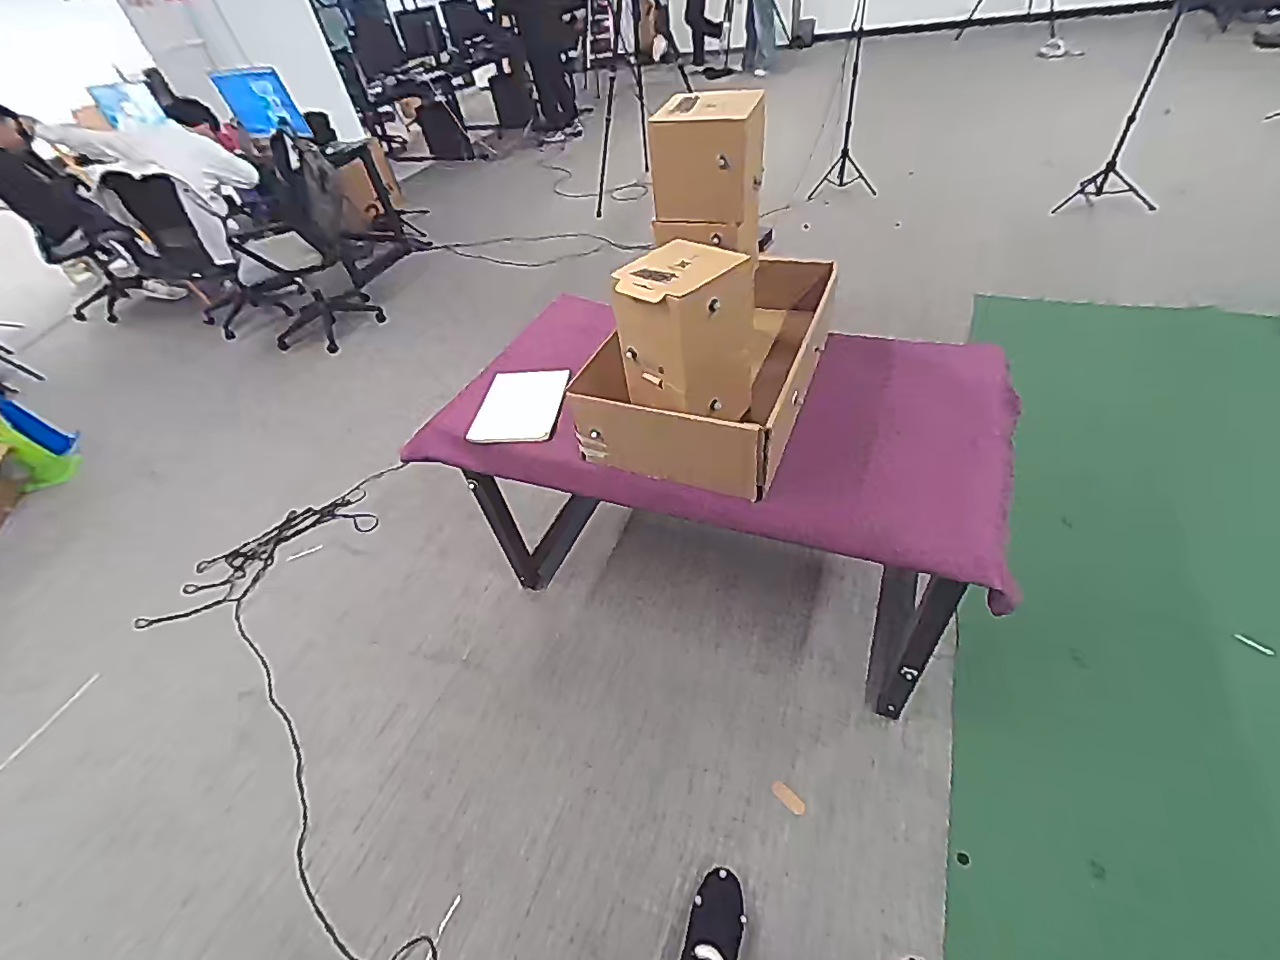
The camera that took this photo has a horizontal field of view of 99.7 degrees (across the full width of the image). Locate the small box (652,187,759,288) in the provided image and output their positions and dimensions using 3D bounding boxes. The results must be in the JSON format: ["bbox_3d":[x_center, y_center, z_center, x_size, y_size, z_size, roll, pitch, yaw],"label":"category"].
[{"bbox_3d":[0.142,-0.492,1.129,0.179,0.176,0.168,12,51,21],"label":"small box"}]

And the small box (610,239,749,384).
[{"bbox_3d":[0.076,-0.292,0.940,0.179,0.176,0.168,-38,50,-26],"label":"small box"}]
